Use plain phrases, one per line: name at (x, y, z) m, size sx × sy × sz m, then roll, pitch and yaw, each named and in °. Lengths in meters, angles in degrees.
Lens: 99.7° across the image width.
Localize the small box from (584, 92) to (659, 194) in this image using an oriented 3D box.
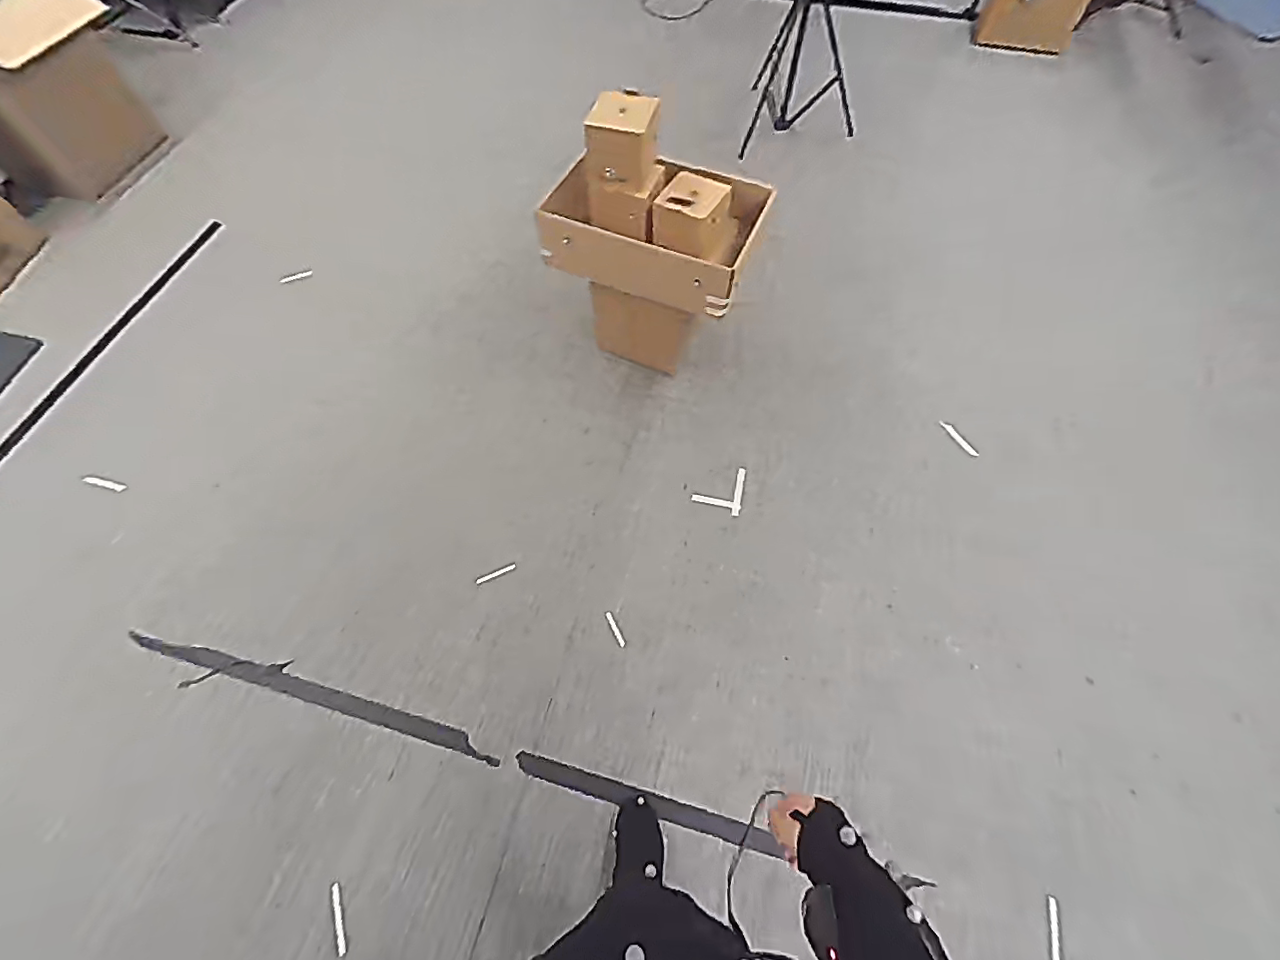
small box at (-0.050, -0.940, 1.514) m, size 0.168 × 0.176 × 0.179 m, roll 14°, pitch 62°, yaw 7°
